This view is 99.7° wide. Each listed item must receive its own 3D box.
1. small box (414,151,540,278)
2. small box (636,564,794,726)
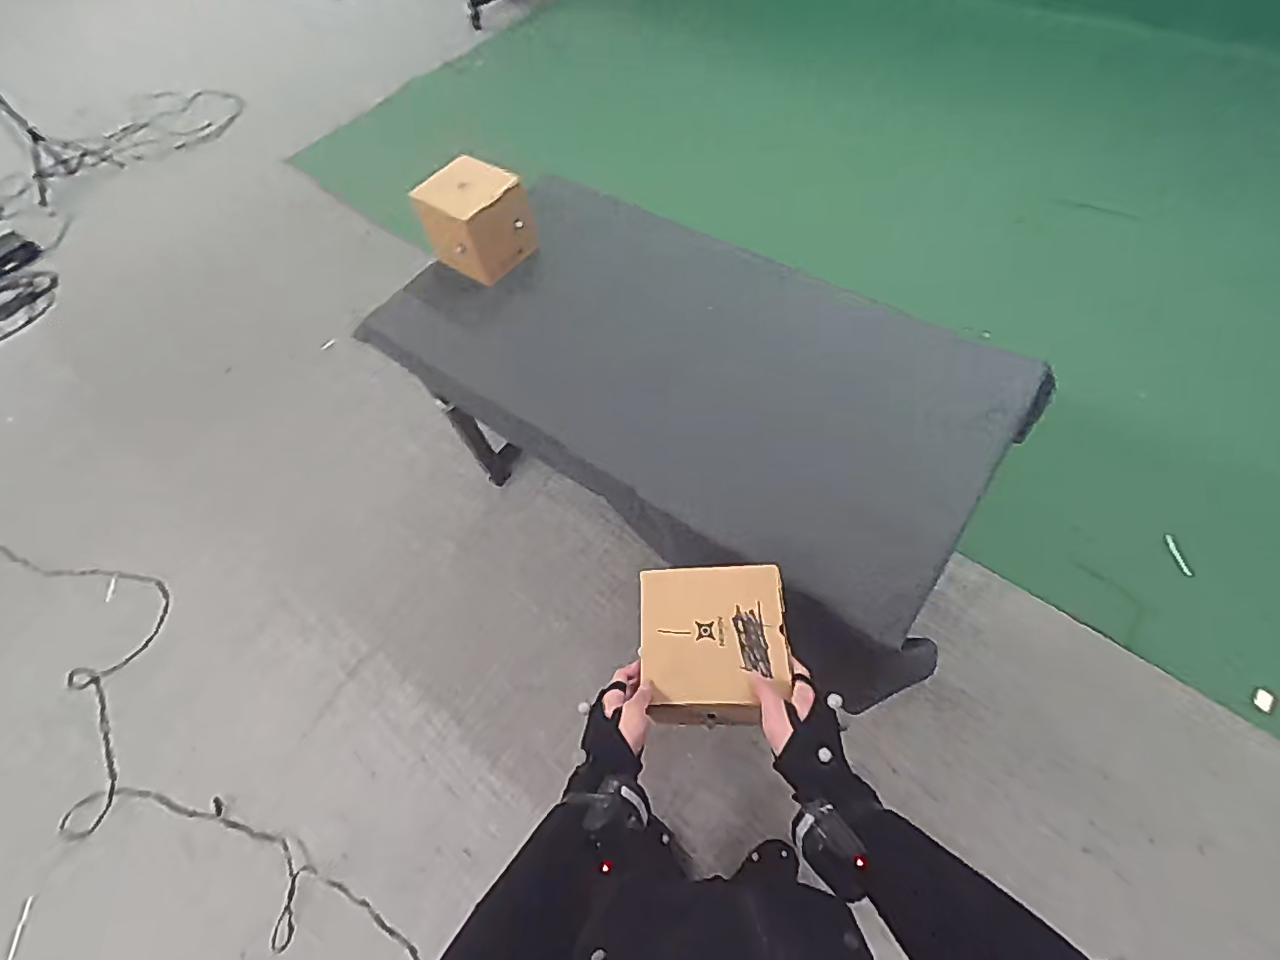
[{"bbox_3d":[-0.341,-0.568,1.171,0.179,0.176,0.168,32,66,21],"label":"small box"},{"bbox_3d":[0.091,0.217,0.701,0.179,0.176,0.168,-3,57,6],"label":"small box"}]
